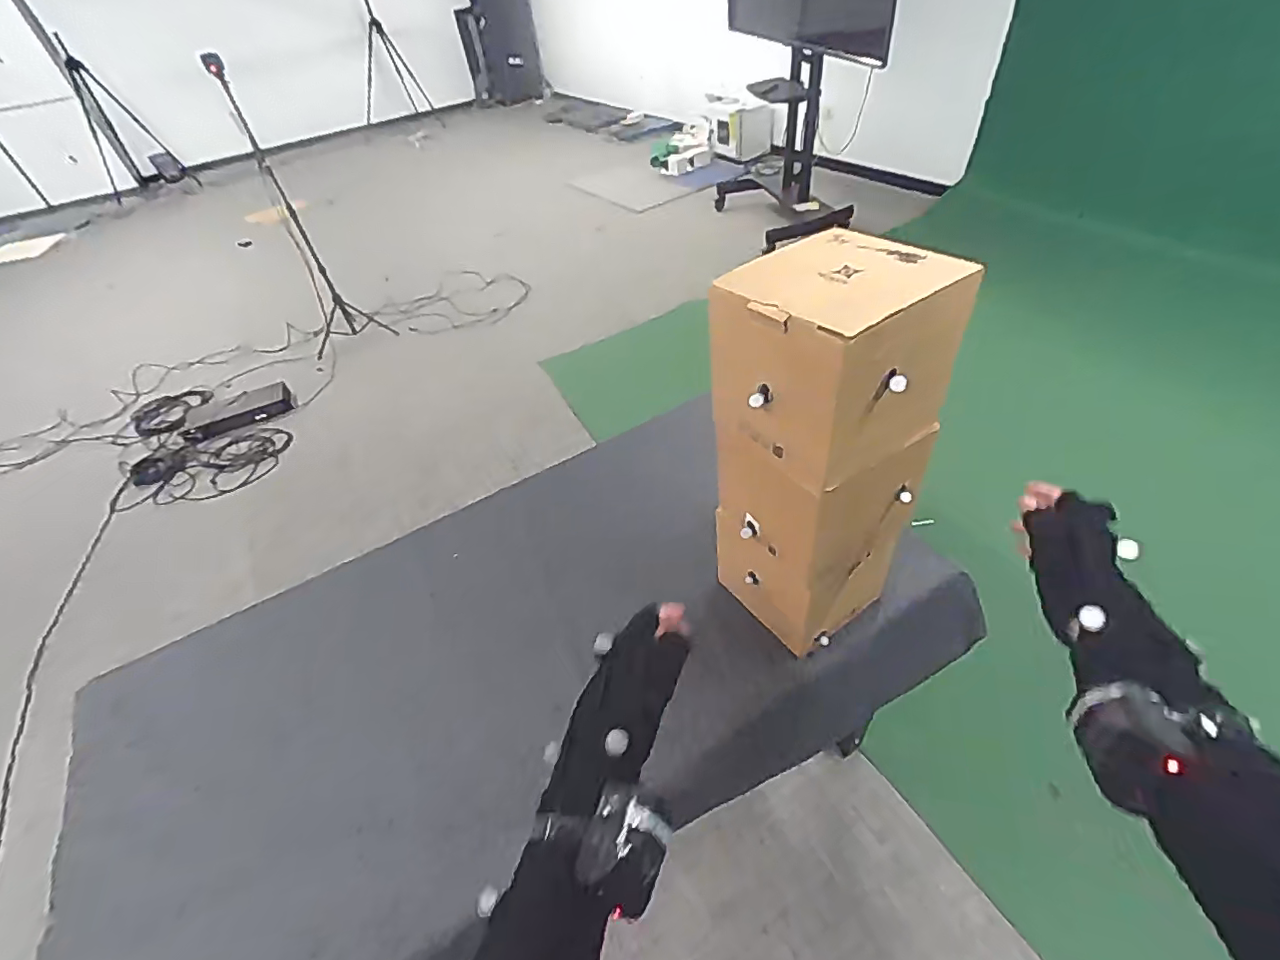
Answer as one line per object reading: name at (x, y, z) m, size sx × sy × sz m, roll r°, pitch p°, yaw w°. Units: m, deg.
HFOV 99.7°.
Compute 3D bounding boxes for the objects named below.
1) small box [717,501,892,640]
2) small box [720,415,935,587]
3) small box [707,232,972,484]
small box at (0.231, 0.103, 0.780) m, size 0.168 × 0.176 × 0.179 m, roll -30°, pitch 46°, yaw -20°
small box at (0.216, -0.006, 0.662) m, size 0.179 × 0.176 × 0.168 m, roll -29°, pitch 46°, yaw -17°
small box at (0.191, -0.125, 0.552) m, size 0.179 × 0.176 × 0.168 m, roll -30°, pitch 46°, yaw -19°
